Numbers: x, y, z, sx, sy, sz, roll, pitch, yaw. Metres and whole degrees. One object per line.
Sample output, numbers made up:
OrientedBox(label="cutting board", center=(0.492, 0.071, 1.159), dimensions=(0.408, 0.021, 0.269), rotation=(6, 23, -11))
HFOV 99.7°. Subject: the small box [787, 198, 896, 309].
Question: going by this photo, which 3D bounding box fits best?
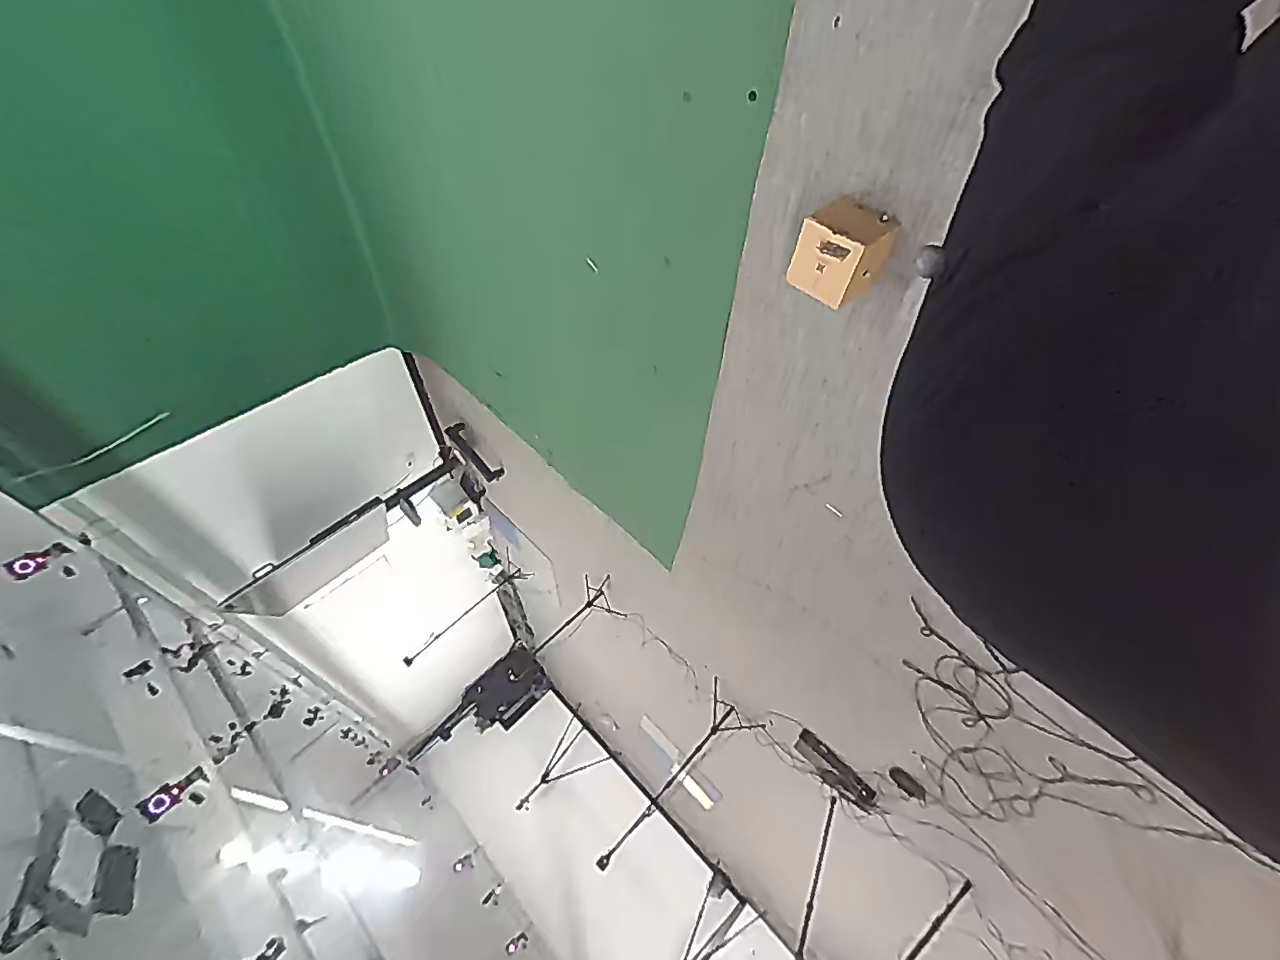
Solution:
OrientedBox(label="small box", center=(0.502, -0.568, 1.345), dimensions=(0.168, 0.176, 0.179), rotation=(41, 151, 21))
